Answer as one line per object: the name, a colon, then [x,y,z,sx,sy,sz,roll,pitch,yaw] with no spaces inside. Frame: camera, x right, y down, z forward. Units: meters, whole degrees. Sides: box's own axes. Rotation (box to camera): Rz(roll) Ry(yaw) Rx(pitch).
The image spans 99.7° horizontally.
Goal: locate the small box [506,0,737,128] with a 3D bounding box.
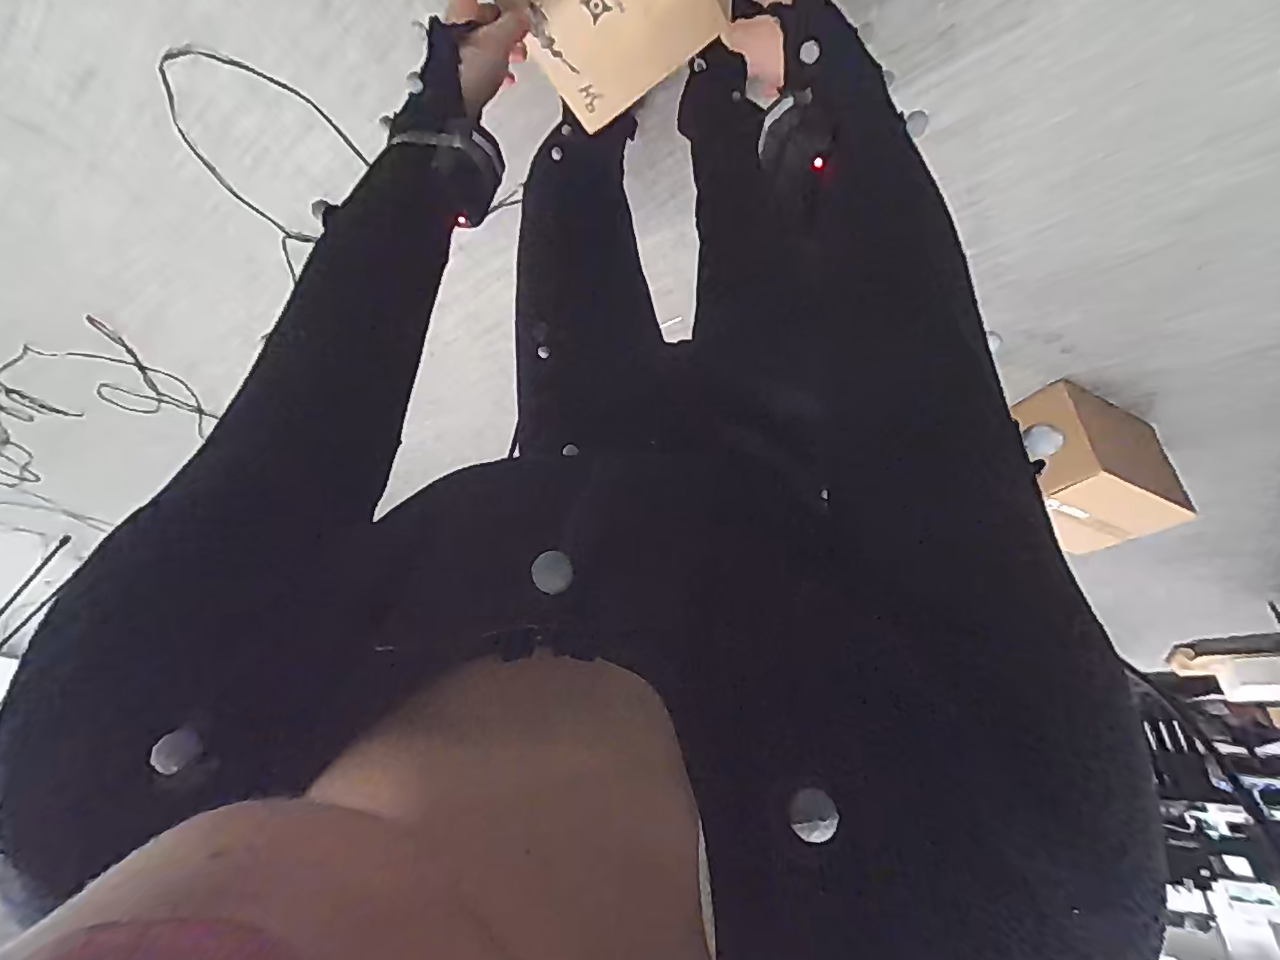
small box: [-0.020,-0.511,0.536,0.179,0.176,0.168,-18,139,31]
